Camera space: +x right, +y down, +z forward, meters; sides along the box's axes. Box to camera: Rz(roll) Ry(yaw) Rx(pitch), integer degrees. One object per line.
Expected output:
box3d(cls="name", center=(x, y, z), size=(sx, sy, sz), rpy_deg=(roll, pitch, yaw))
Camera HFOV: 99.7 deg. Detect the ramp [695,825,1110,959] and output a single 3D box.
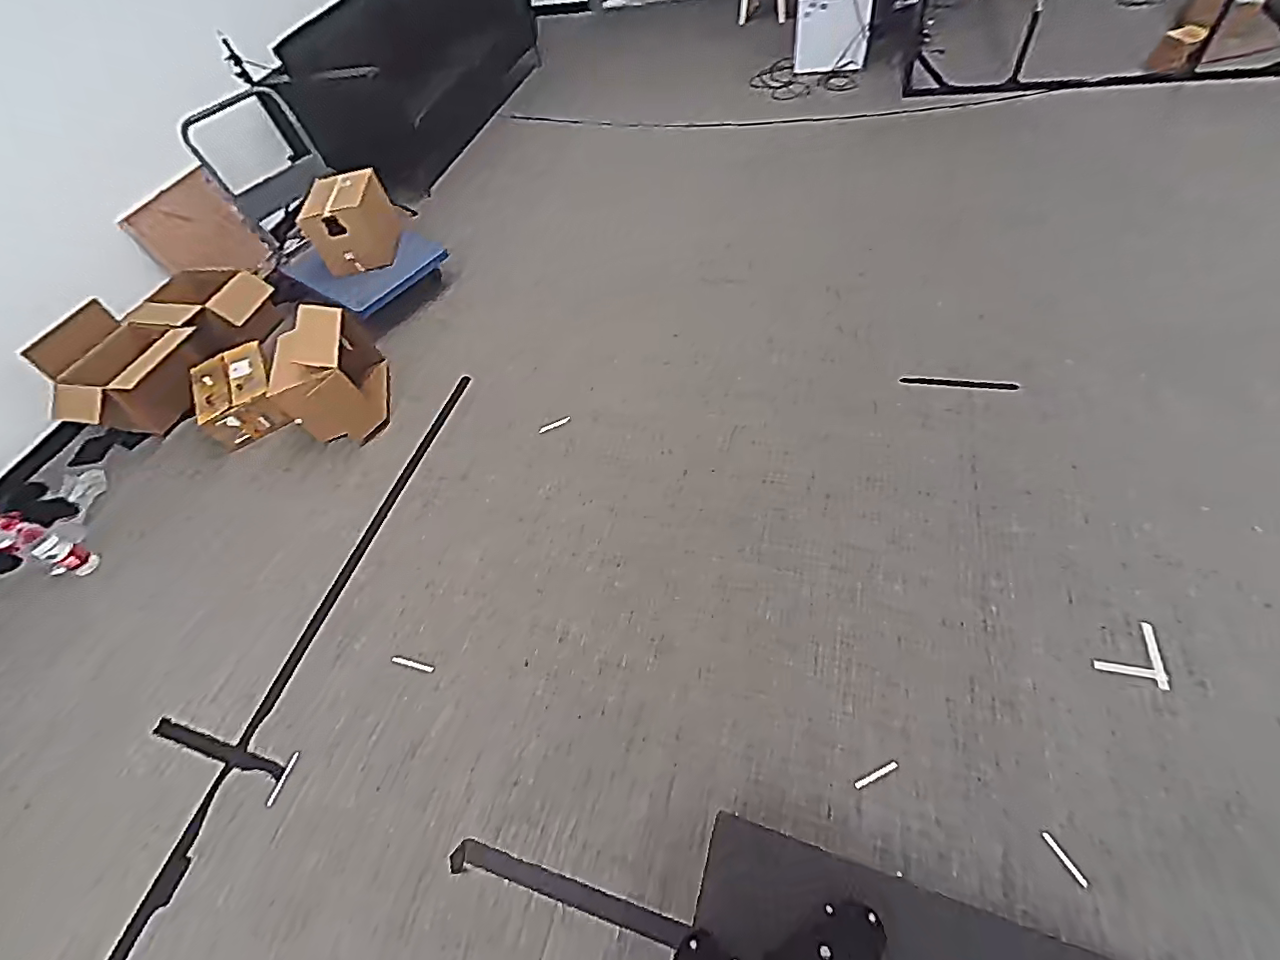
box3d(cls="ramp", center=(0.582, 1.071, 0.989), size=(0.991, 0.206, 0.509), rpy_deg=(8, 55, 16))
